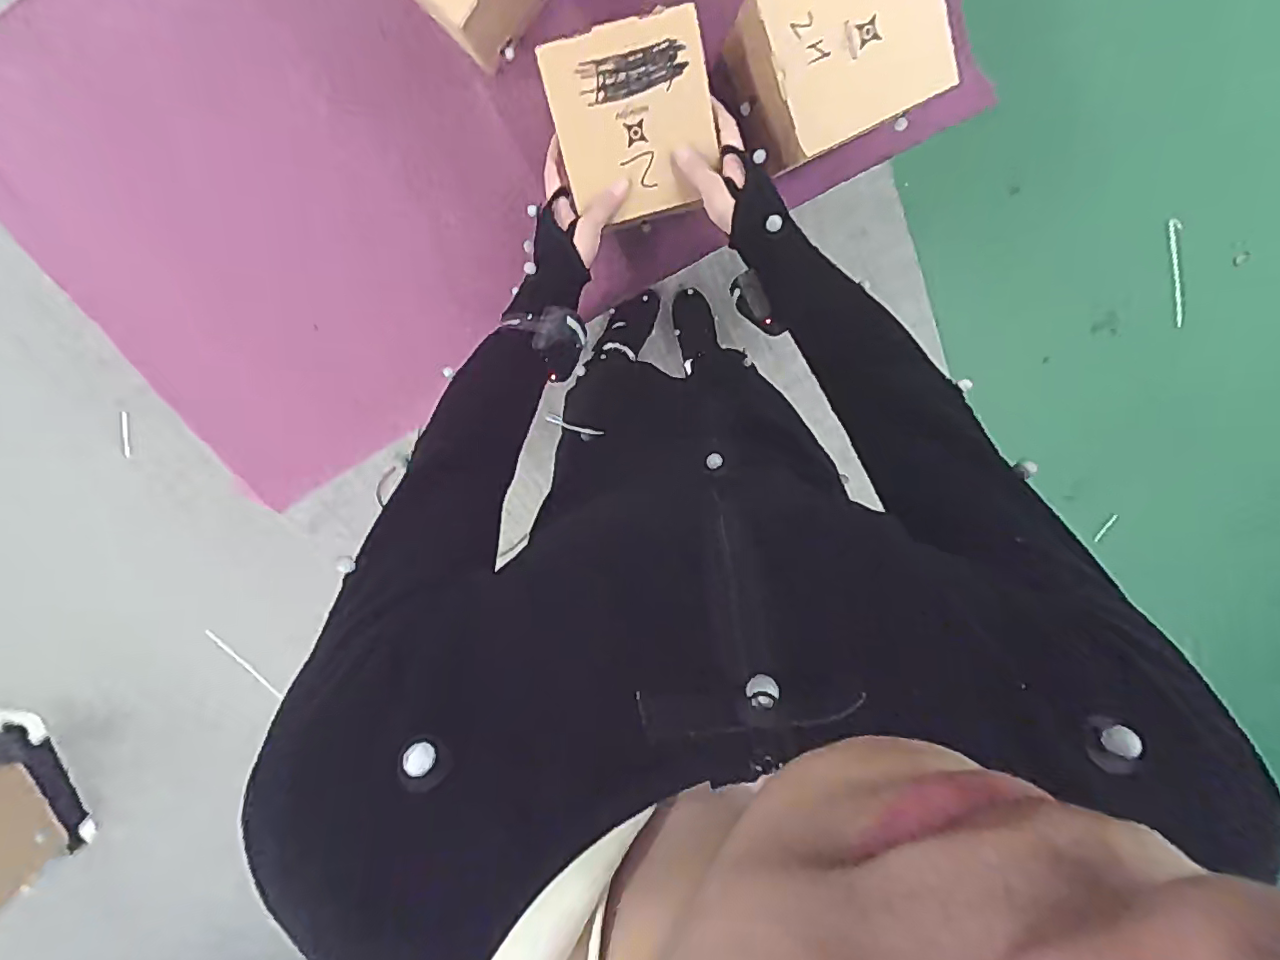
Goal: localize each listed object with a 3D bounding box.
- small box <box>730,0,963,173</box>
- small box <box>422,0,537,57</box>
[{"bbox_3d":[0.220,-0.475,0.609,0.179,0.176,0.168,-22,111,8],"label":"small box"},{"bbox_3d":[-0.186,-0.581,0.551,0.179,0.176,0.168,40,106,-17],"label":"small box"}]
